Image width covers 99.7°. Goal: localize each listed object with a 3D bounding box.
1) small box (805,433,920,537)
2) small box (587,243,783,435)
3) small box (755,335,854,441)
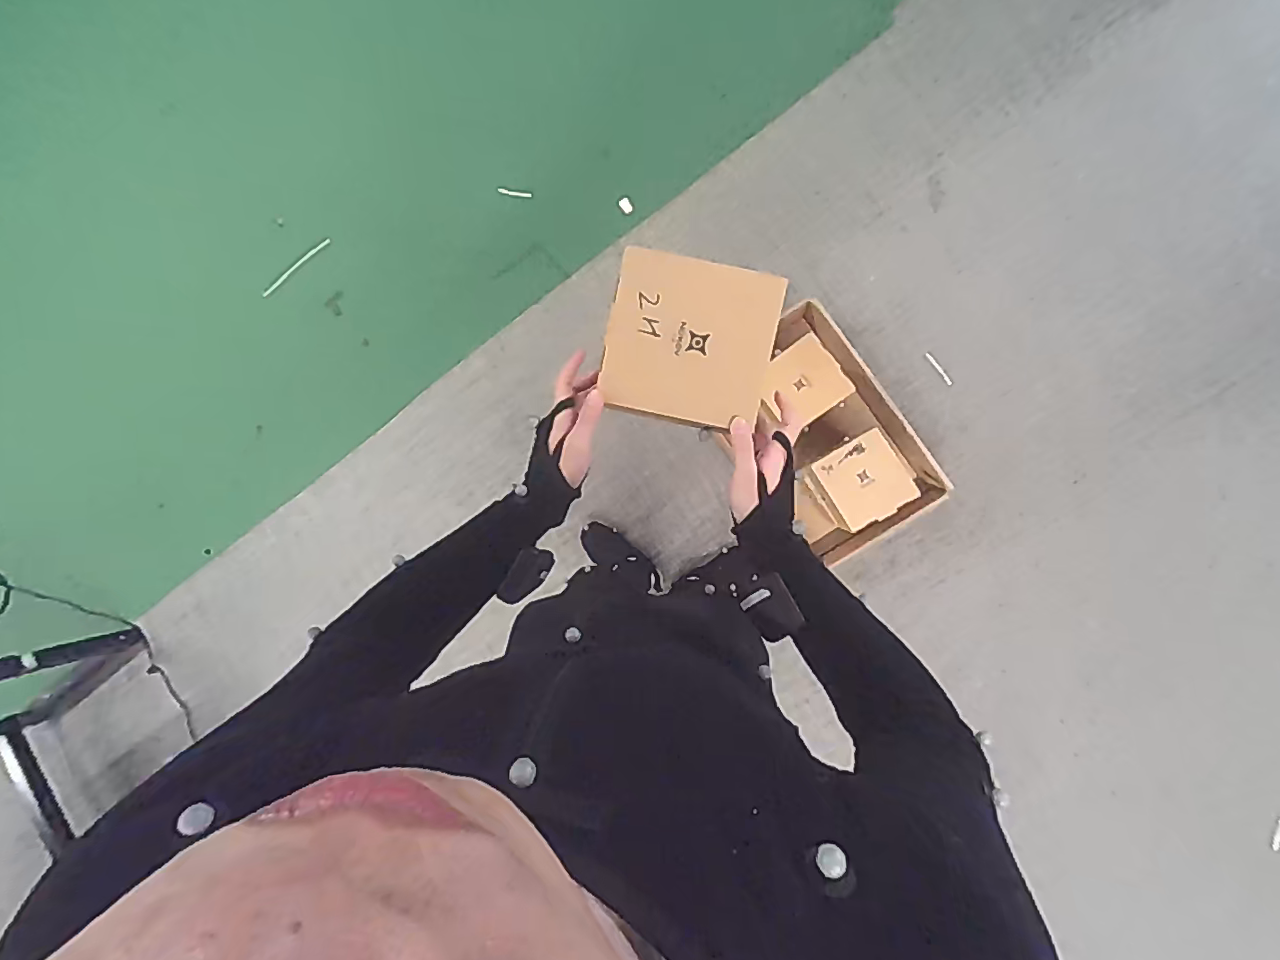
[{"bbox_3d":[0.501,0.011,1.245,0.168,0.176,0.179,-31,83,9],"label":"small box"},{"bbox_3d":[0.047,-0.152,0.639,0.179,0.176,0.168,12,94,0],"label":"small box"},{"bbox_3d":[0.371,-0.207,1.279,0.179,0.176,0.168,-36,85,7],"label":"small box"}]
